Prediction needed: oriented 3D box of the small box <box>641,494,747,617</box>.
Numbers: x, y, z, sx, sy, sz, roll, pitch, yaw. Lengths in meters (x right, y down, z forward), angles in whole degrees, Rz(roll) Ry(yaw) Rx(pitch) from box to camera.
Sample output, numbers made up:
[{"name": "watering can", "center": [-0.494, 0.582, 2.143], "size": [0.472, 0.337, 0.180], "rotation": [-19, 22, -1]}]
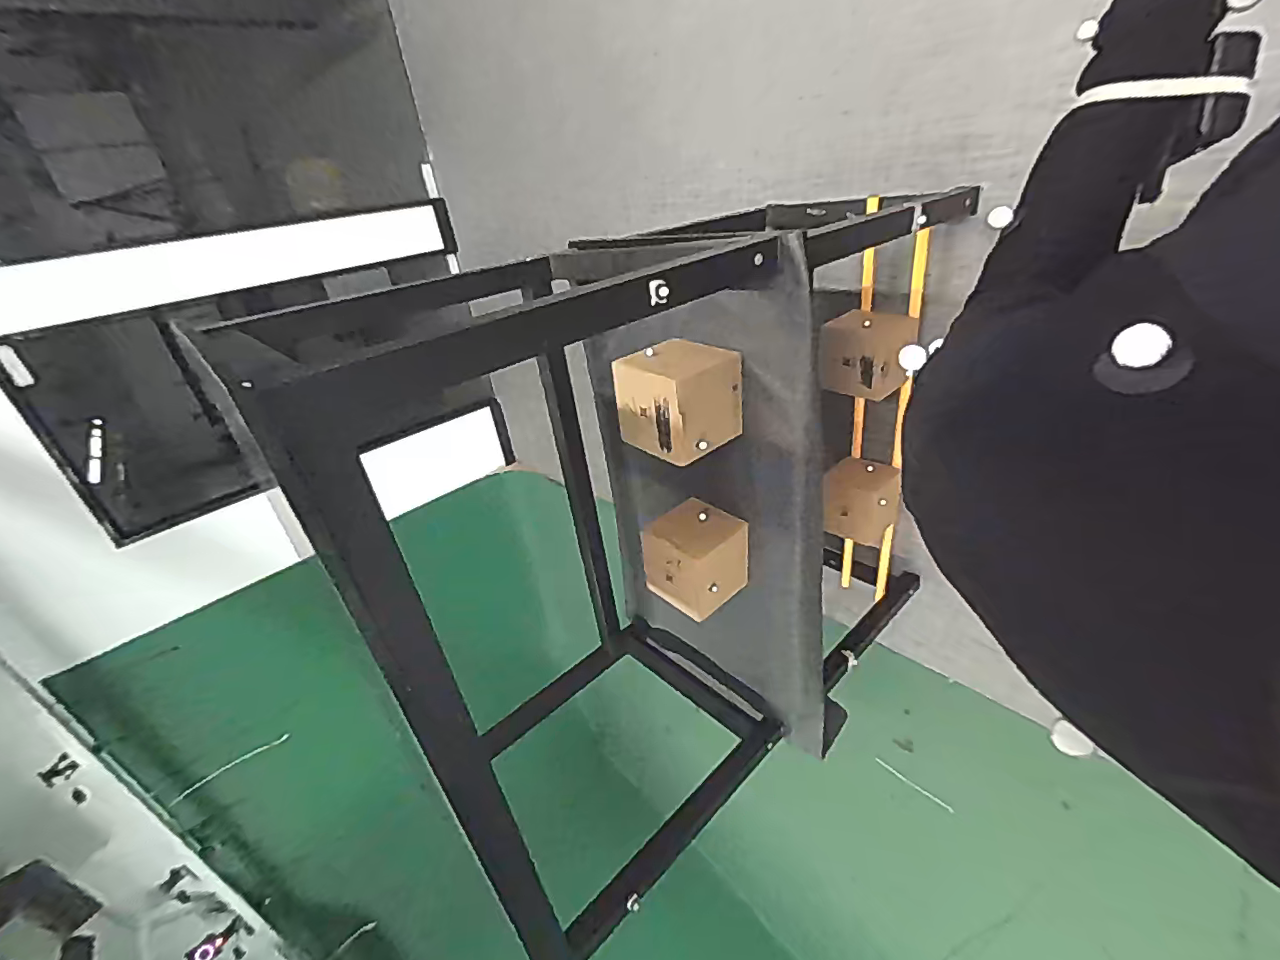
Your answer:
[{"name": "small box", "center": [0.124, 0.161, 1.200], "size": [0.168, 0.176, 0.179], "rotation": [26, 134, 41]}]

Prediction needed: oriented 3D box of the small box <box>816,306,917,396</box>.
[{"name": "small box", "center": [0.572, -0.332, 1.369], "size": [0.179, 0.176, 0.168], "rotation": [26, 133, 41]}]
